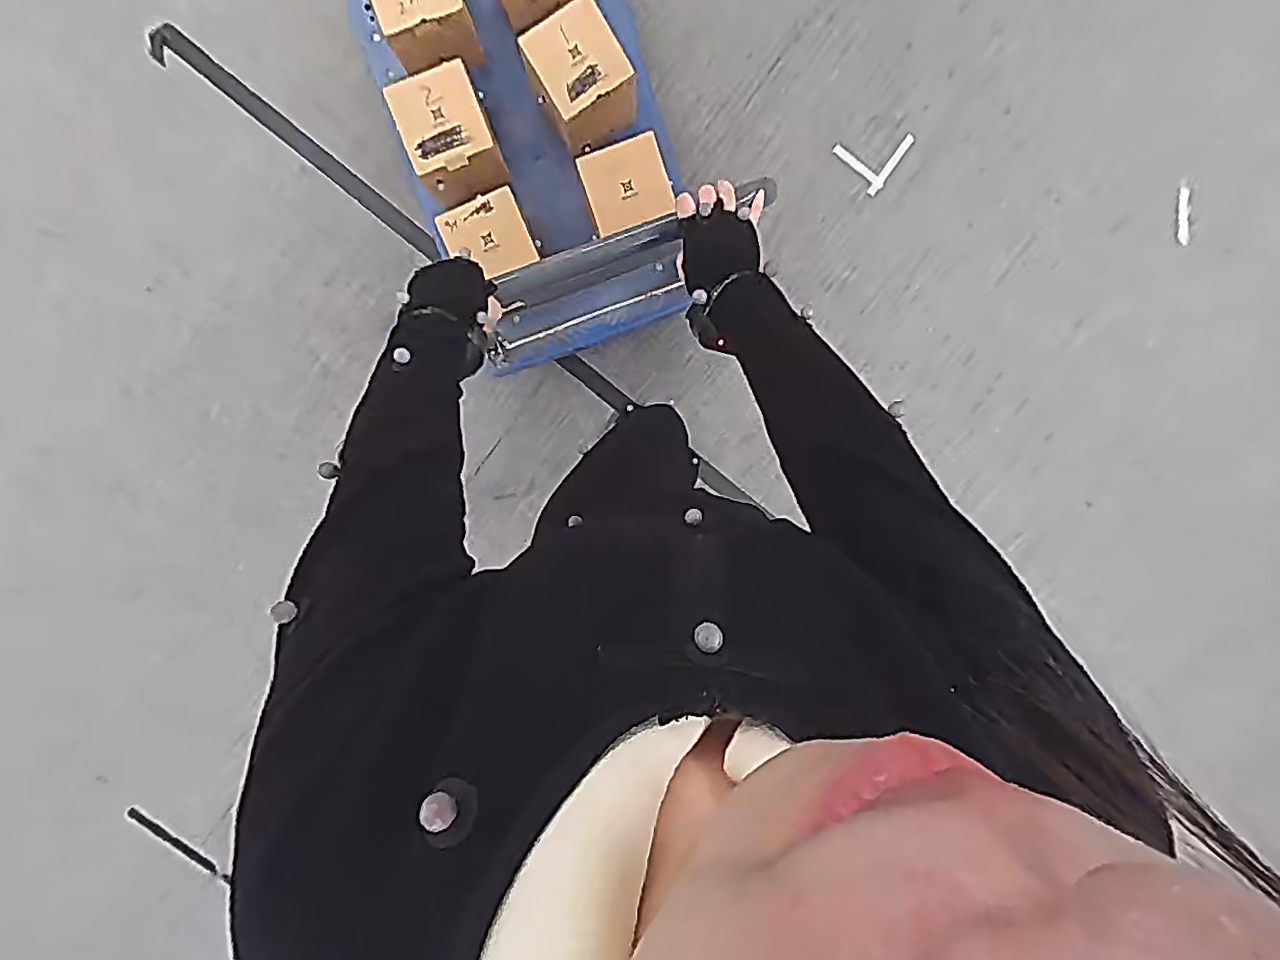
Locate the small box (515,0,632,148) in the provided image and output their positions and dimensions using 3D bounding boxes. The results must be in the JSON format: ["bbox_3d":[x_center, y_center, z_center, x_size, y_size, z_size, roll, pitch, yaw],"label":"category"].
[{"bbox_3d":[-0.128,-0.830,1.120,0.168,0.176,0.179,-32,96,3],"label":"small box"}]

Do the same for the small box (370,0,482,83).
[{"bbox_3d":[-0.443,-0.961,1.094,0.168,0.176,0.179,-19,98,1],"label":"small box"}]

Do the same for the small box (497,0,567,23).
[{"bbox_3d":[-0.238,-1.077,1.087,0.168,0.176,0.179,-23,97,2],"label":"small box"}]

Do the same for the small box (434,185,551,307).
[{"bbox_3d":[-0.304,-0.486,1.159,0.168,0.176,0.179,-24,98,1],"label":"small box"}]

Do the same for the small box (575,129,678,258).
[{"bbox_3d":[-0.026,-0.595,1.154,0.168,0.176,0.179,-20,97,1],"label":"small box"}]
